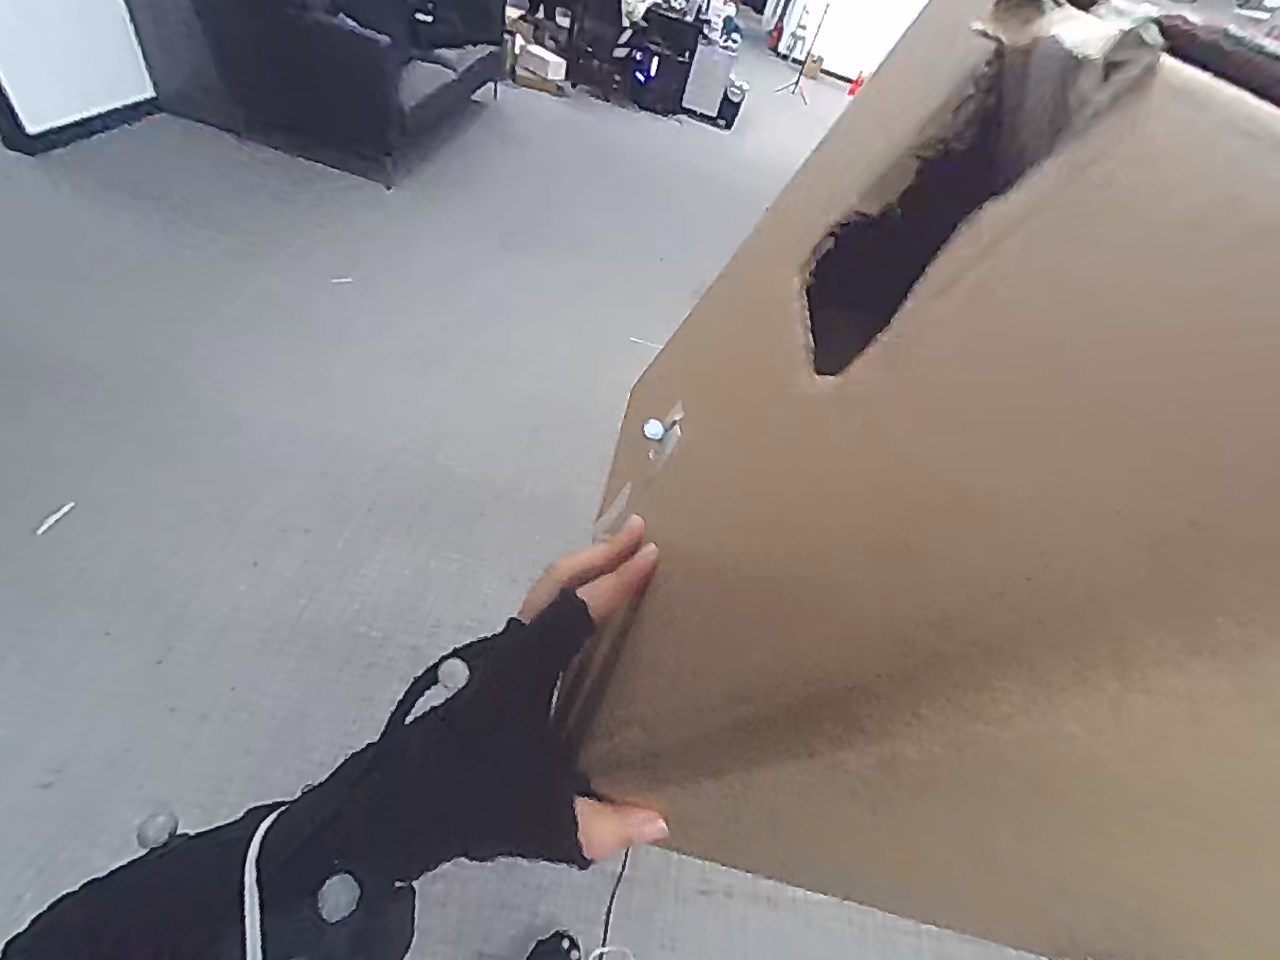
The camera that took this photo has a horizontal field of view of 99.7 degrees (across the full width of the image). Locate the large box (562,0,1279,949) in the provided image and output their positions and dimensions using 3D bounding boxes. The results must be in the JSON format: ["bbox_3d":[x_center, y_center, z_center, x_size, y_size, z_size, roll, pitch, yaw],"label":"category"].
[{"bbox_3d":[0.219,0.046,0.315,0.408,0.320,0.320,28,47,-18],"label":"large box"}]
